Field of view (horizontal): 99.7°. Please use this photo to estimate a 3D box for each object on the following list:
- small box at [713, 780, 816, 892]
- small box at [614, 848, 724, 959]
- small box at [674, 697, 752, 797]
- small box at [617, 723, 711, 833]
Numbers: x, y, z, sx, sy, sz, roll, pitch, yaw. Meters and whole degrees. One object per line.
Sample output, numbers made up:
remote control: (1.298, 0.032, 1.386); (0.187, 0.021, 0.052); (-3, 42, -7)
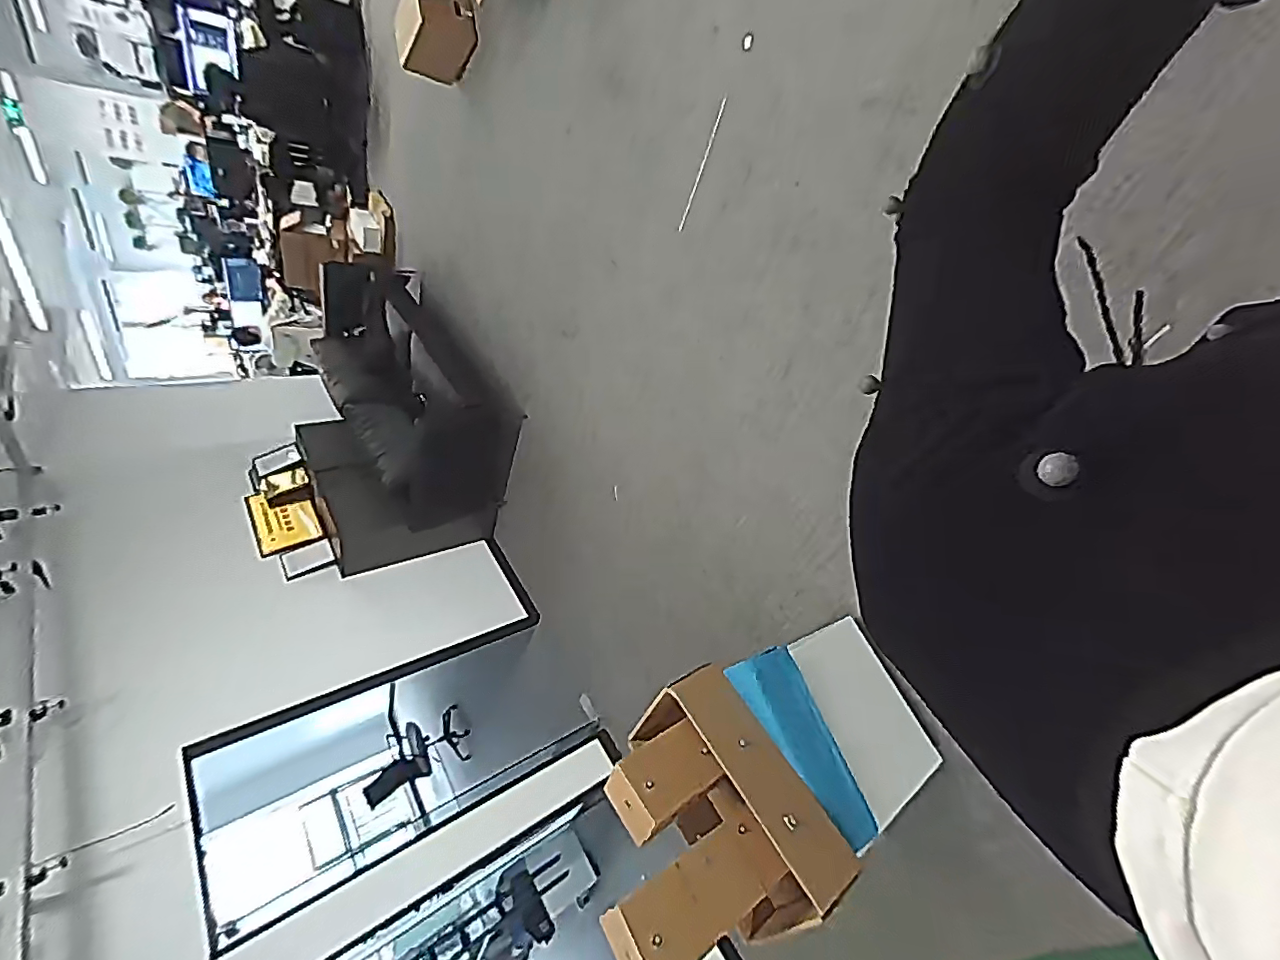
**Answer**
small box: (0.334, 0.949, 1.449); (0.179, 0.176, 0.168); (53, 140, 32)
small box: (0.068, 1.013, 1.266); (0.179, 0.176, 0.168); (55, 140, 31)
small box: (0.194, 0.770, 1.571); (0.179, 0.176, 0.168); (48, 137, 31)
small box: (0.067, 0.807, 1.476); (0.179, 0.176, 0.168); (48, 136, 33)
